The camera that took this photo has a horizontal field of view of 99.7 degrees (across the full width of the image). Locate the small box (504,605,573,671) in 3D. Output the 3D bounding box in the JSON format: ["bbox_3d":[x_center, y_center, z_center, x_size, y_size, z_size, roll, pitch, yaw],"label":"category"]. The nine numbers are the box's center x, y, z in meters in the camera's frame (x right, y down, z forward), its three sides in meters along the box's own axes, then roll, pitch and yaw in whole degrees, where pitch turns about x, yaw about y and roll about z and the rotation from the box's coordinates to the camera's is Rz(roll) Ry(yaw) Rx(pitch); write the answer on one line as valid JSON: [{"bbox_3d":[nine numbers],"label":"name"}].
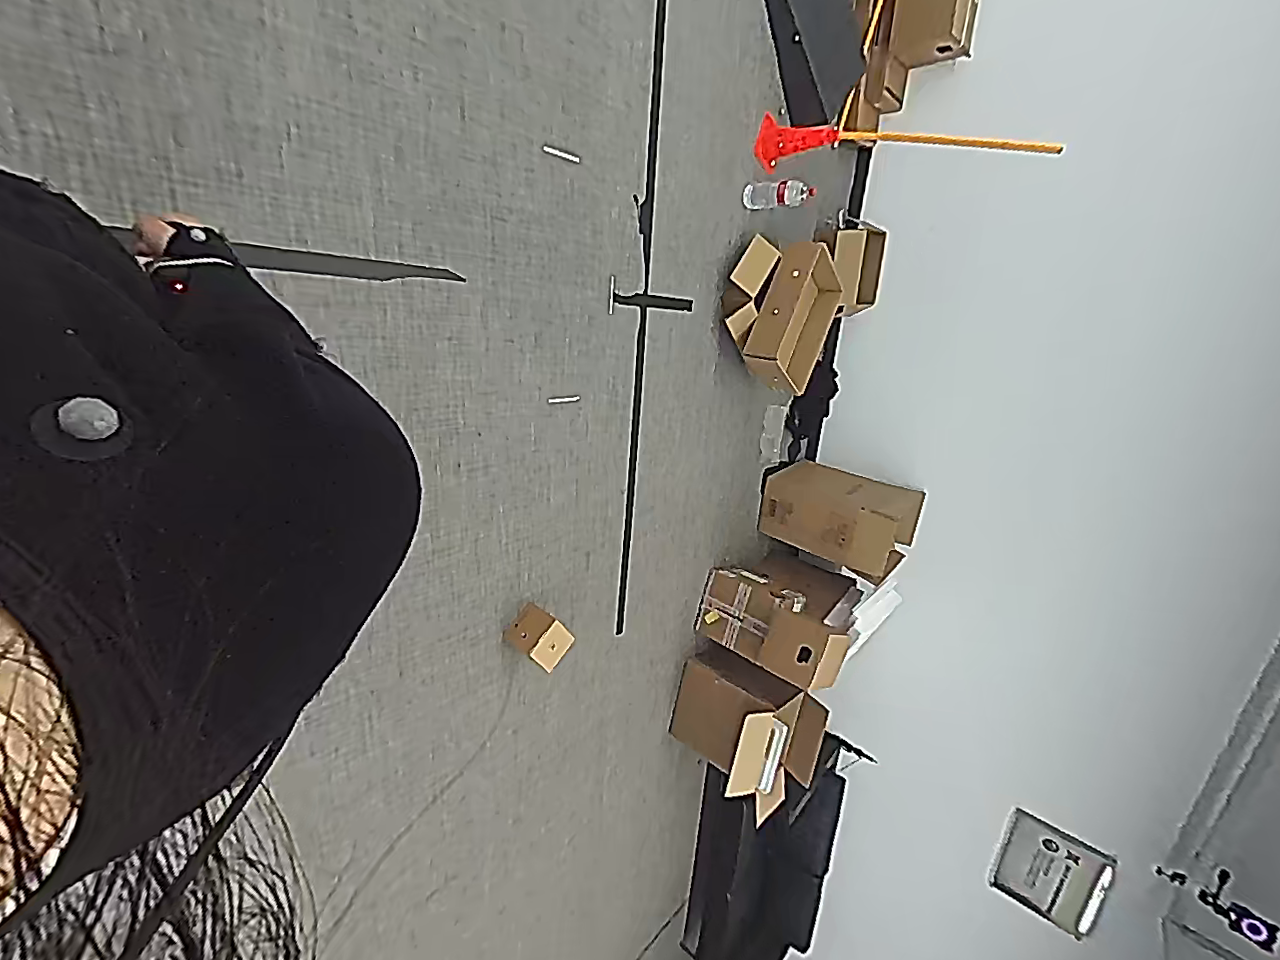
[{"bbox_3d":[-0.405,0.622,2.147,0.168,0.176,0.179,-51,140,-22],"label":"small box"}]
